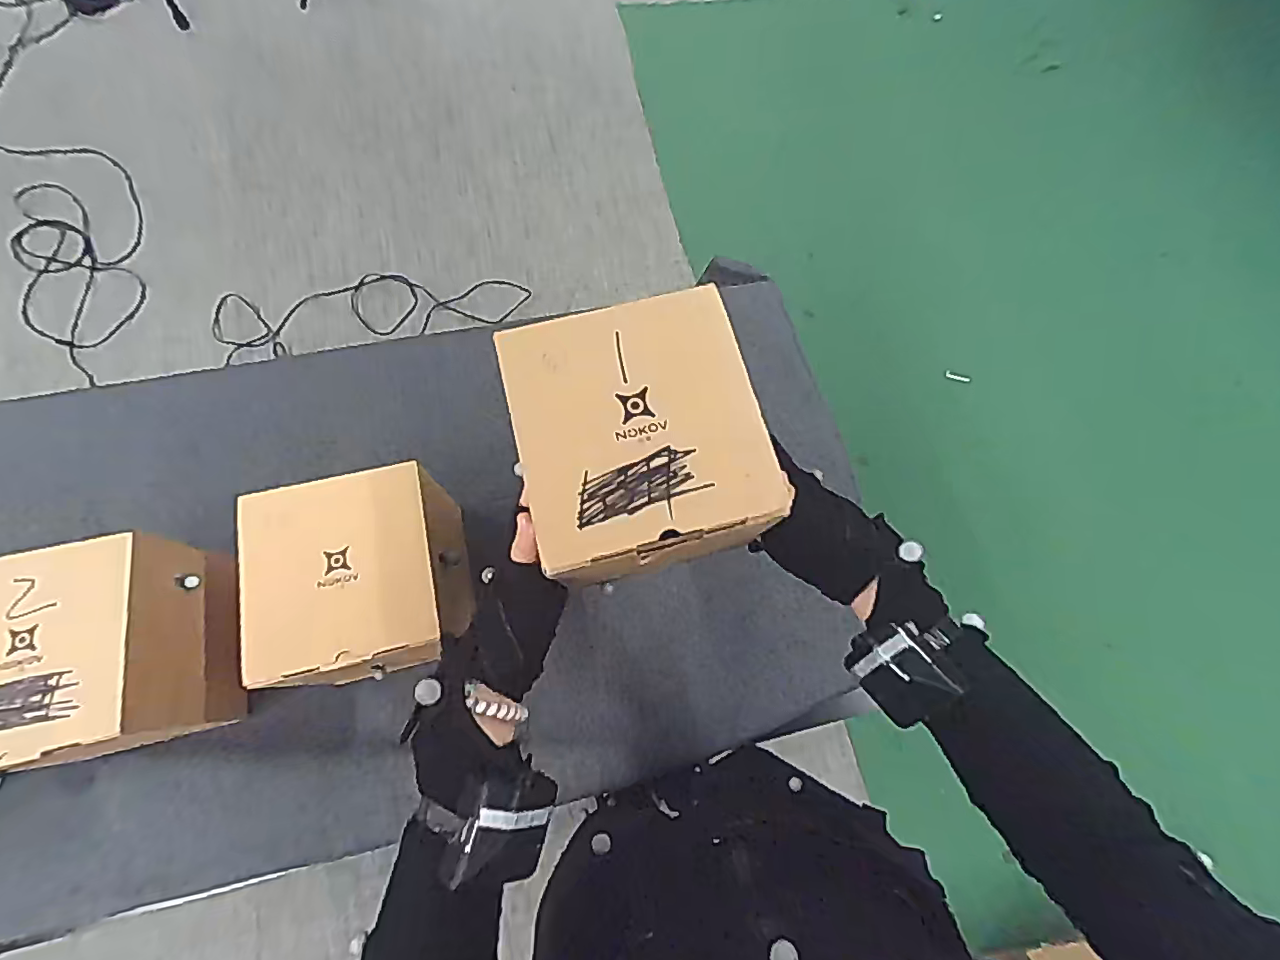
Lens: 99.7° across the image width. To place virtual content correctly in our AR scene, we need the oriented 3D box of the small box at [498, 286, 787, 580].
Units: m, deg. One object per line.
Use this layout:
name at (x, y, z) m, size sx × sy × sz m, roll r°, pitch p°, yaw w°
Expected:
small box at (-0.001, -0.021, 0.442) m, size 0.168 × 0.176 × 0.179 m, roll -14°, pitch 75°, yaw -4°

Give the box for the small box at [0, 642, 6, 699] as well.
small box at (-0.742, 0.224, 0.480) m, size 0.168 × 0.176 × 0.179 m, roll -13°, pitch 71°, yaw -10°

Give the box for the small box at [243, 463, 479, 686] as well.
small box at (-0.276, 0.104, 0.564) m, size 0.168 × 0.176 × 0.179 m, roll -13°, pitch 73°, yaw -9°
